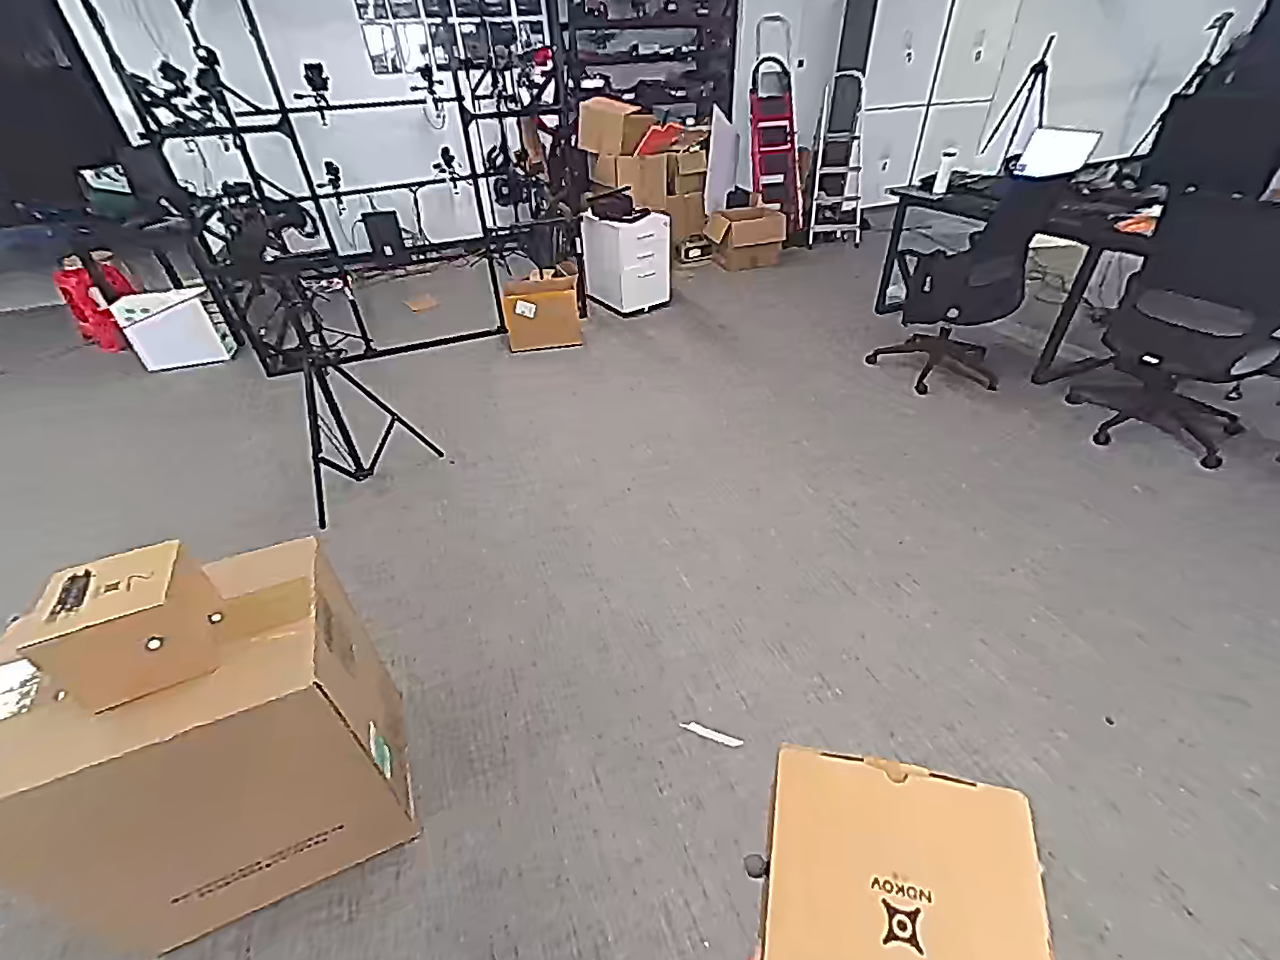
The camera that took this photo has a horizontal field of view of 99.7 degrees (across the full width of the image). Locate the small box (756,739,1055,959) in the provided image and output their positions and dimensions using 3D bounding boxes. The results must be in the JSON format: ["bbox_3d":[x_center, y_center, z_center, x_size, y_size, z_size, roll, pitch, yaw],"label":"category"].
[{"bbox_3d":[0.173,0.316,0.393,0.168,0.176,0.179,5,52,15],"label":"small box"}]
